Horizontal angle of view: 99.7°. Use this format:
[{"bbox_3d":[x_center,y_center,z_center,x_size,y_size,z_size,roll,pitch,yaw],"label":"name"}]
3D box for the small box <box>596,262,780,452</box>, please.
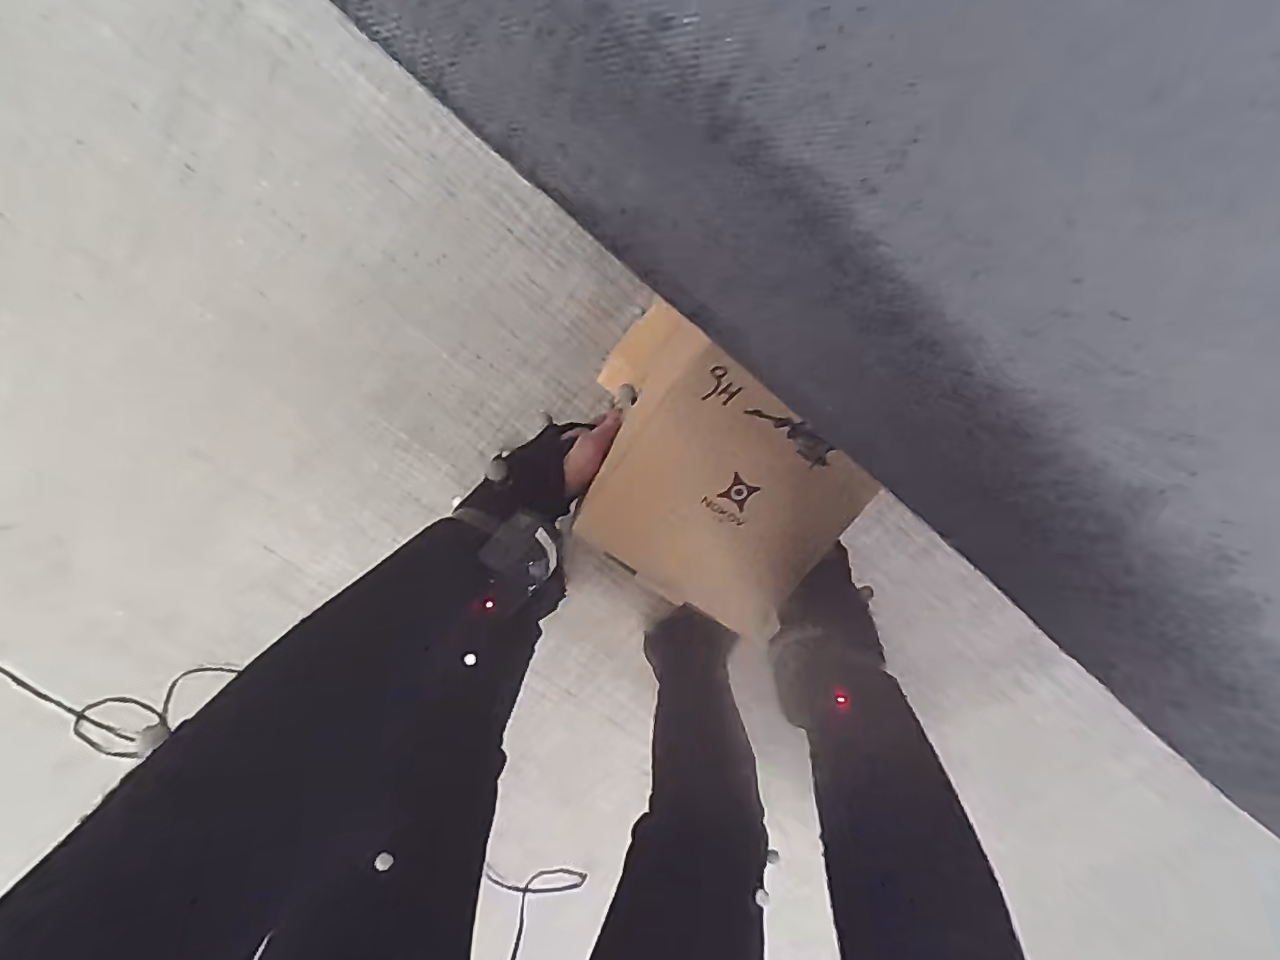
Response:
[{"bbox_3d":[0.057,-0.173,0.741,0.168,0.176,0.179,36,107,-12],"label":"small box"}]
